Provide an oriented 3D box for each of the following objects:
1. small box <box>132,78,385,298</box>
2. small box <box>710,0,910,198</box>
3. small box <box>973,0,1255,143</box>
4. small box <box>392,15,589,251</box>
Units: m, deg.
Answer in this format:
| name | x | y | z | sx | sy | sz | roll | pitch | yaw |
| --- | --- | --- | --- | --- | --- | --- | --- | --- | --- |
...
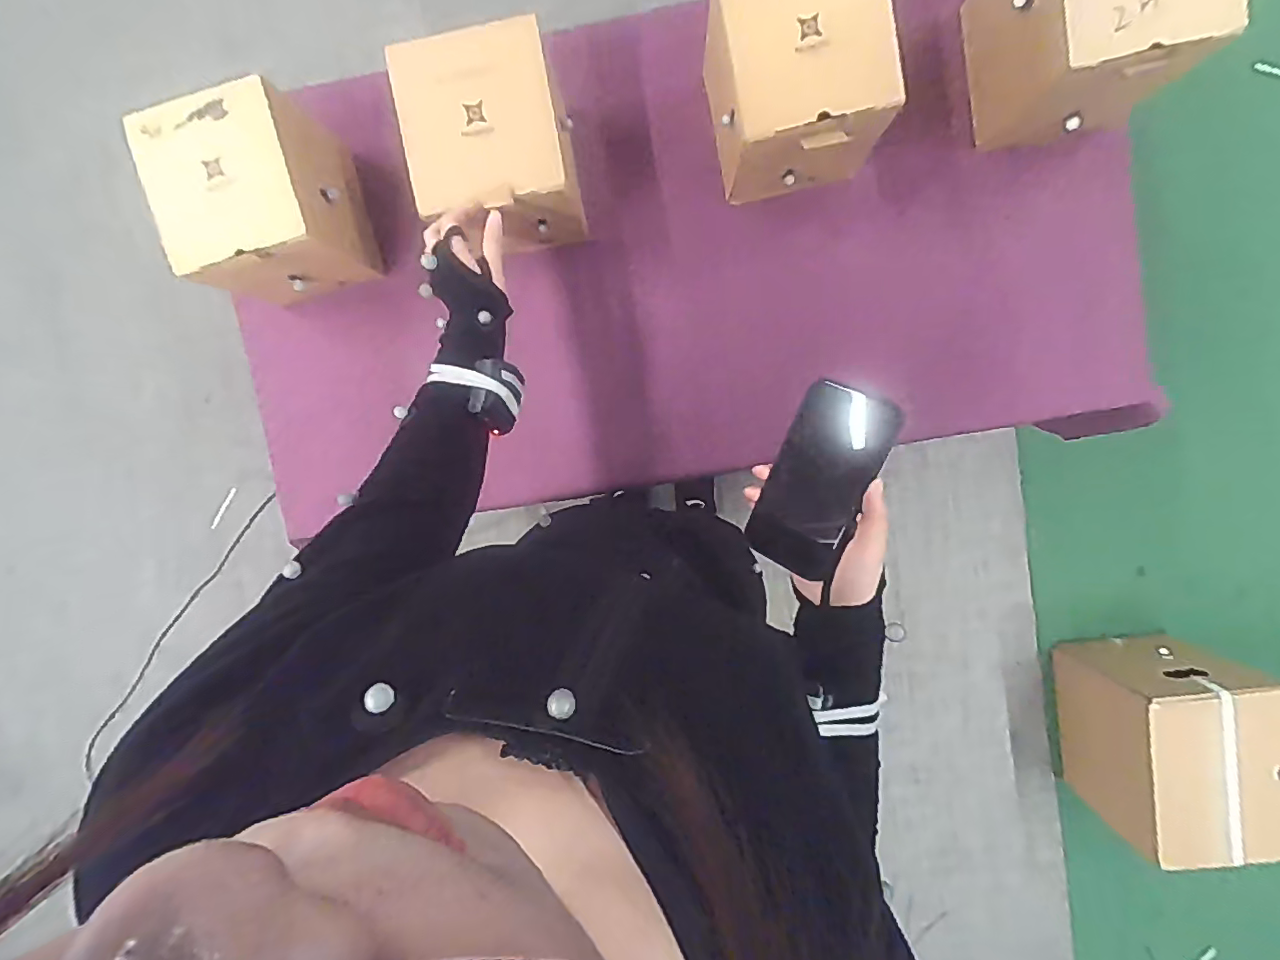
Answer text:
| name | x | y | z | sx | sy | sz | roll | pitch | yaw |
| --- | --- | --- | --- | --- | --- | --- | --- | --- | --- |
| small box | -0.450 | -0.338 | 0.670 | 0.168 | 0.176 | 0.179 | -14 | 96 | 4 |
| small box | 0.179 | -0.459 | 0.618 | 0.168 | 0.176 | 0.179 | -12 | 96 | 5 |
| small box | 0.491 | -0.512 | 0.588 | 0.168 | 0.176 | 0.179 | -9 | 96 | 6 |
| small box | -0.163 | -0.390 | 0.648 | 0.168 | 0.176 | 0.179 | -9 | 96 | 3 |
